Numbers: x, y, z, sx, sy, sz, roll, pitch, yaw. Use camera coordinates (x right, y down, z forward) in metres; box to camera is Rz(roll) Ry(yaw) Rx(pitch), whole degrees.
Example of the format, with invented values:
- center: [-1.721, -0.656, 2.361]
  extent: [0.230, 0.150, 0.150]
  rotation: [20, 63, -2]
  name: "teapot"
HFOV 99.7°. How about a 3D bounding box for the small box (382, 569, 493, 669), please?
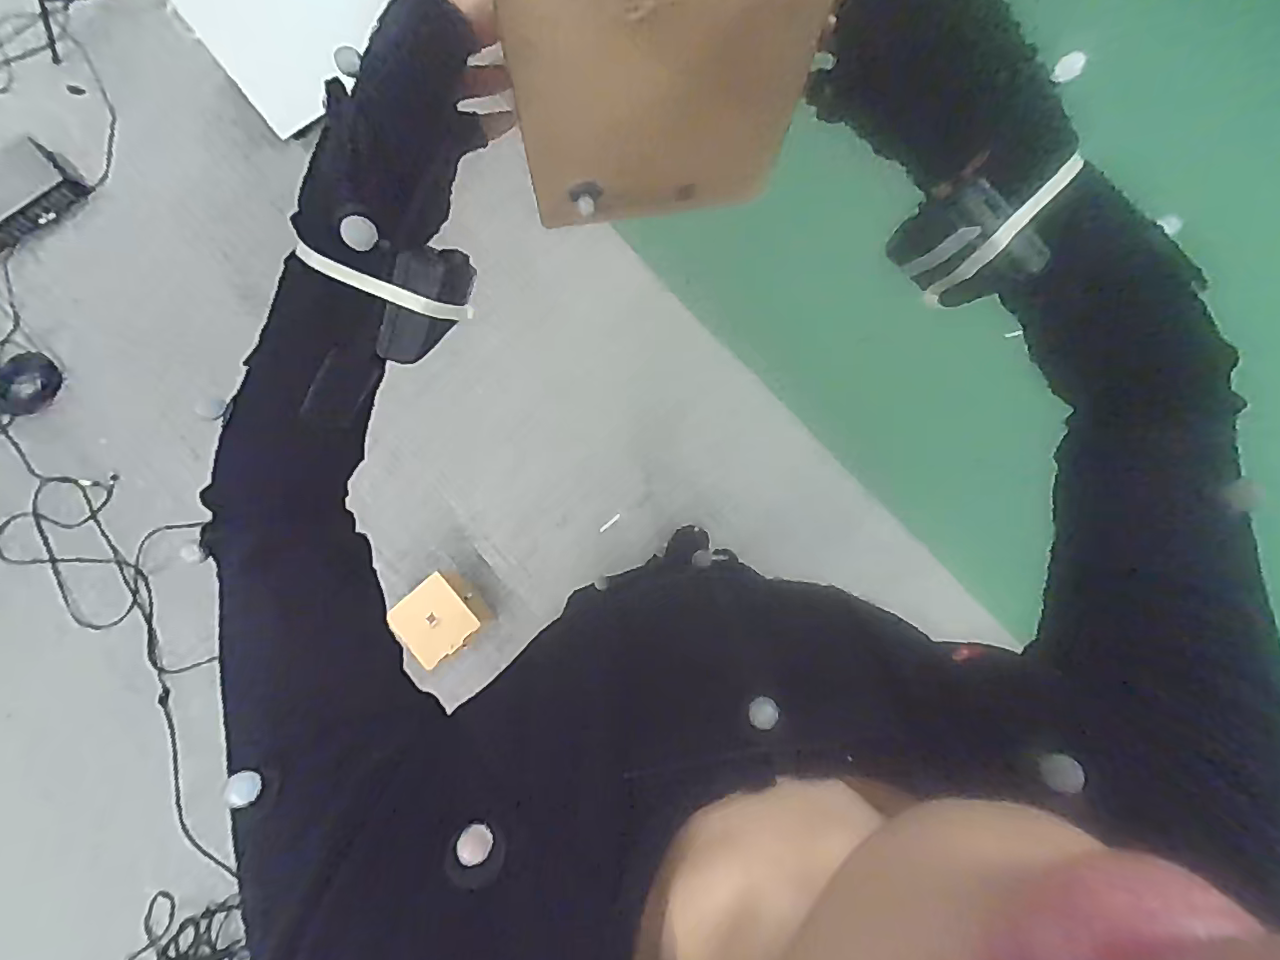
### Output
- center: [-0.501, 0.345, 1.363]
  extent: [0.168, 0.176, 0.179]
  rotation: [-41, 83, -8]
  name: "small box"
